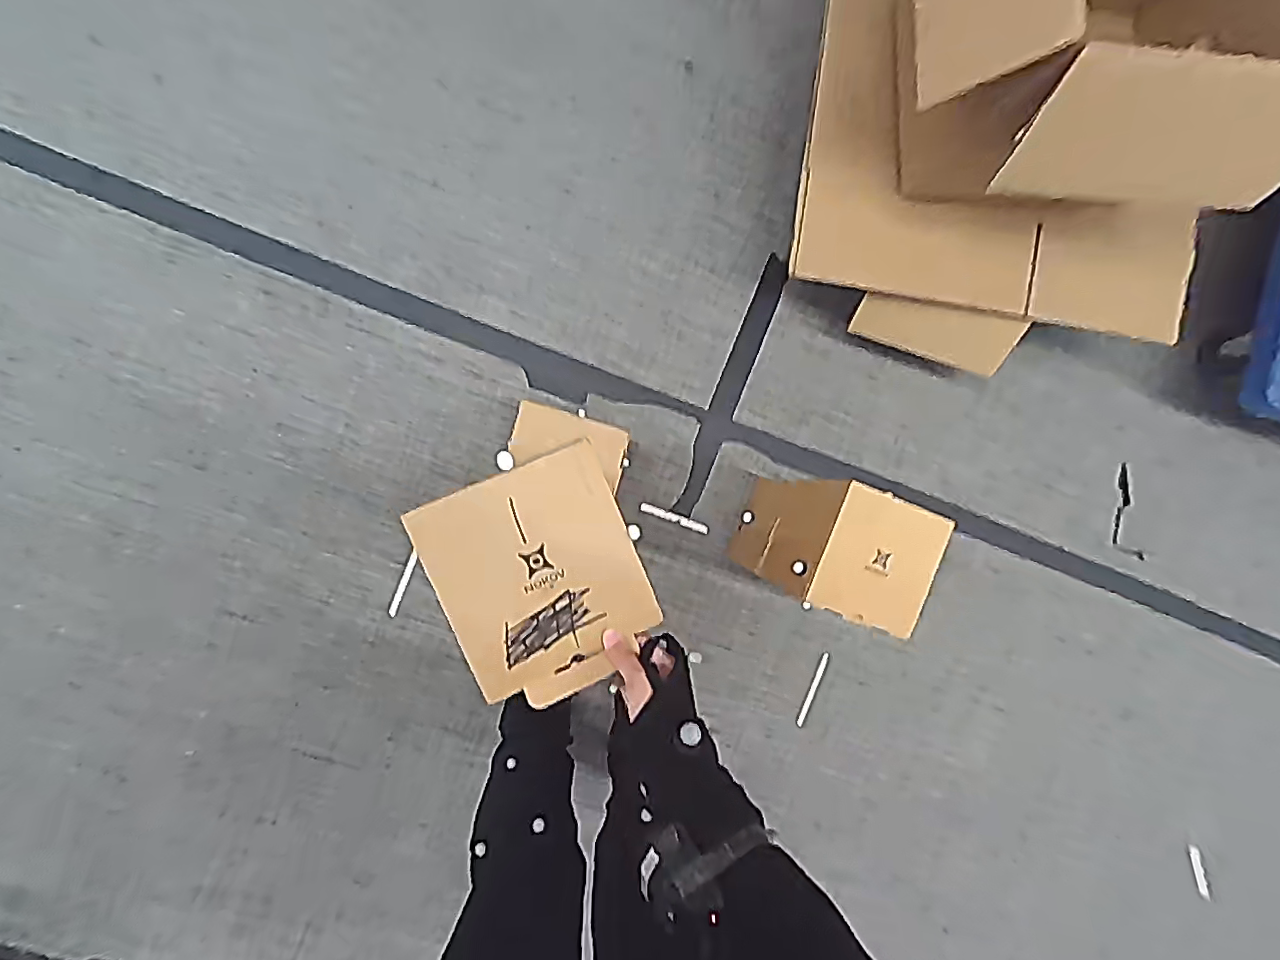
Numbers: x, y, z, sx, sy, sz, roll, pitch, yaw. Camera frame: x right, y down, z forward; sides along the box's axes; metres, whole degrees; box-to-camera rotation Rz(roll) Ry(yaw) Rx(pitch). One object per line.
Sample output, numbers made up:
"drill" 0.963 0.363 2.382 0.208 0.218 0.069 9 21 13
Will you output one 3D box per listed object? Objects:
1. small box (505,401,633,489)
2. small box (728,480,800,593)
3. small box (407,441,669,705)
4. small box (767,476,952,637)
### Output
"small box" -0.124 -0.023 0.907 0.179 0.176 0.168 15 90 -7
"small box" 0.285 0.106 0.965 0.179 0.176 0.168 26 89 -8
"small box" -0.093 0.072 0.521 0.168 0.176 0.179 -24 96 -10
"small box" 0.311 0.101 0.804 0.168 0.176 0.179 21 90 -9
